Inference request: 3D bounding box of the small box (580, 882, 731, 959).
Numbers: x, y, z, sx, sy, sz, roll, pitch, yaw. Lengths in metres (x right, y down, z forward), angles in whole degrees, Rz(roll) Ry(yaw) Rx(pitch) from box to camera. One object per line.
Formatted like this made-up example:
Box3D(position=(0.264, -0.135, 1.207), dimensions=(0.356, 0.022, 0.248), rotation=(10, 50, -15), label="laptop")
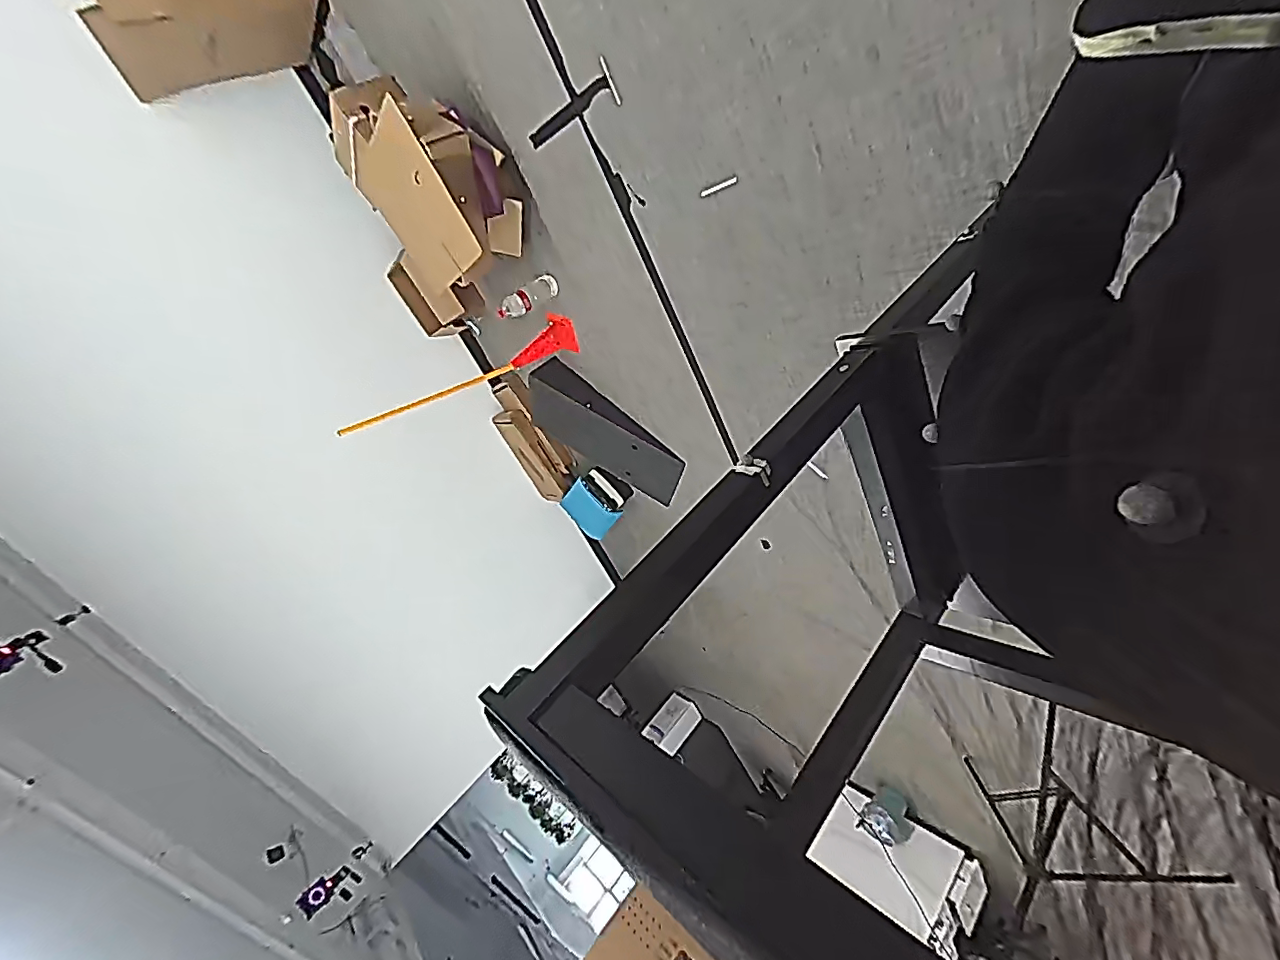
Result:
Box3D(position=(0.033, 0.401, 0.322), dimensions=(0.168, 0.176, 0.179), rotation=(9, 134, 50), label="small box")
